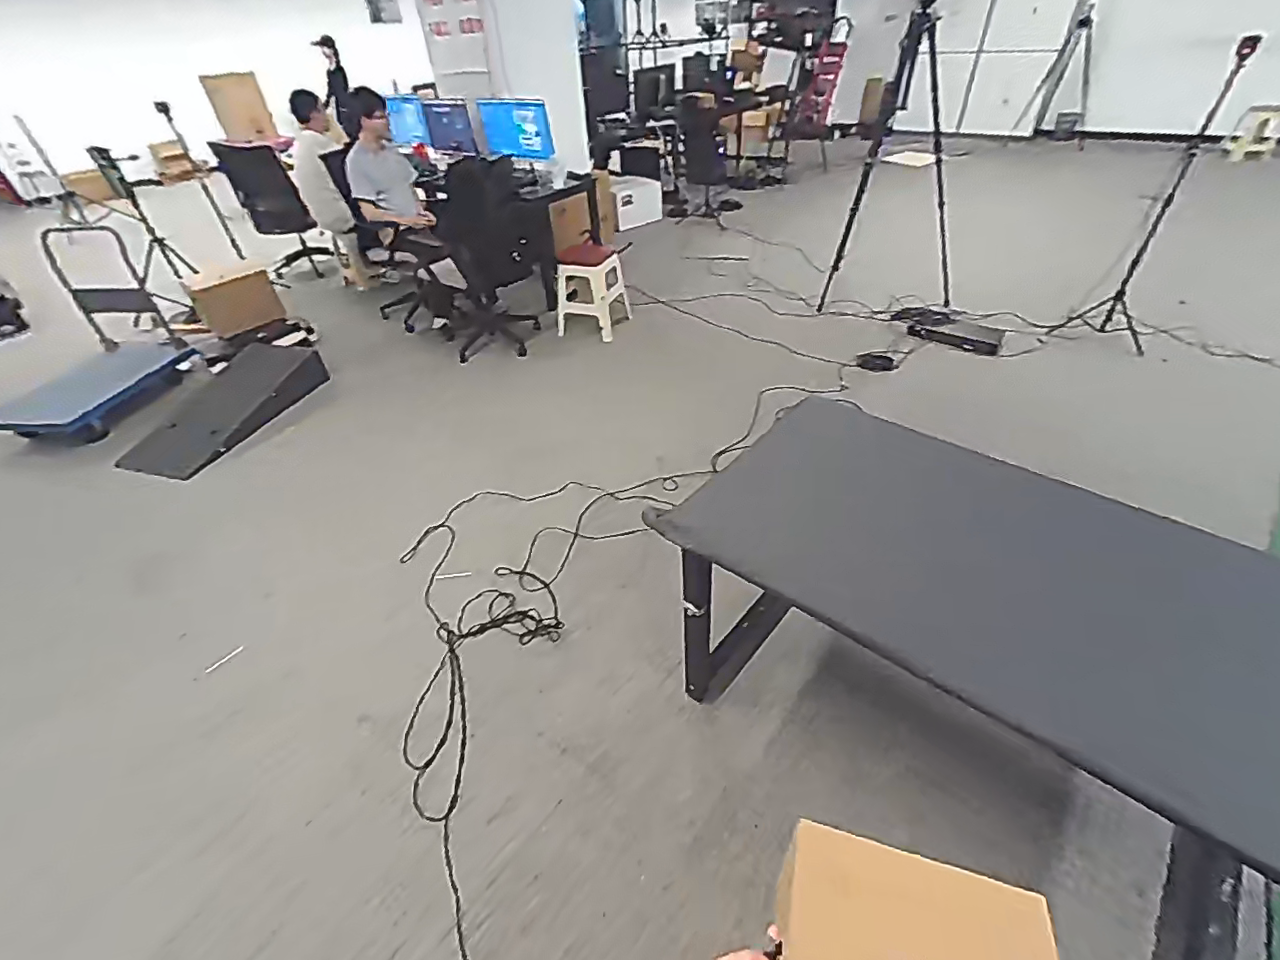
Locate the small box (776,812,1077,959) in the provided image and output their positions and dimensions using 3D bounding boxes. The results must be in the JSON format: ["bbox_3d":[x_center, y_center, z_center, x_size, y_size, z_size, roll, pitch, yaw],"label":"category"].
[{"bbox_3d":[0.183,0.381,0.375,0.168,0.176,0.179,11,41,17],"label":"small box"}]
